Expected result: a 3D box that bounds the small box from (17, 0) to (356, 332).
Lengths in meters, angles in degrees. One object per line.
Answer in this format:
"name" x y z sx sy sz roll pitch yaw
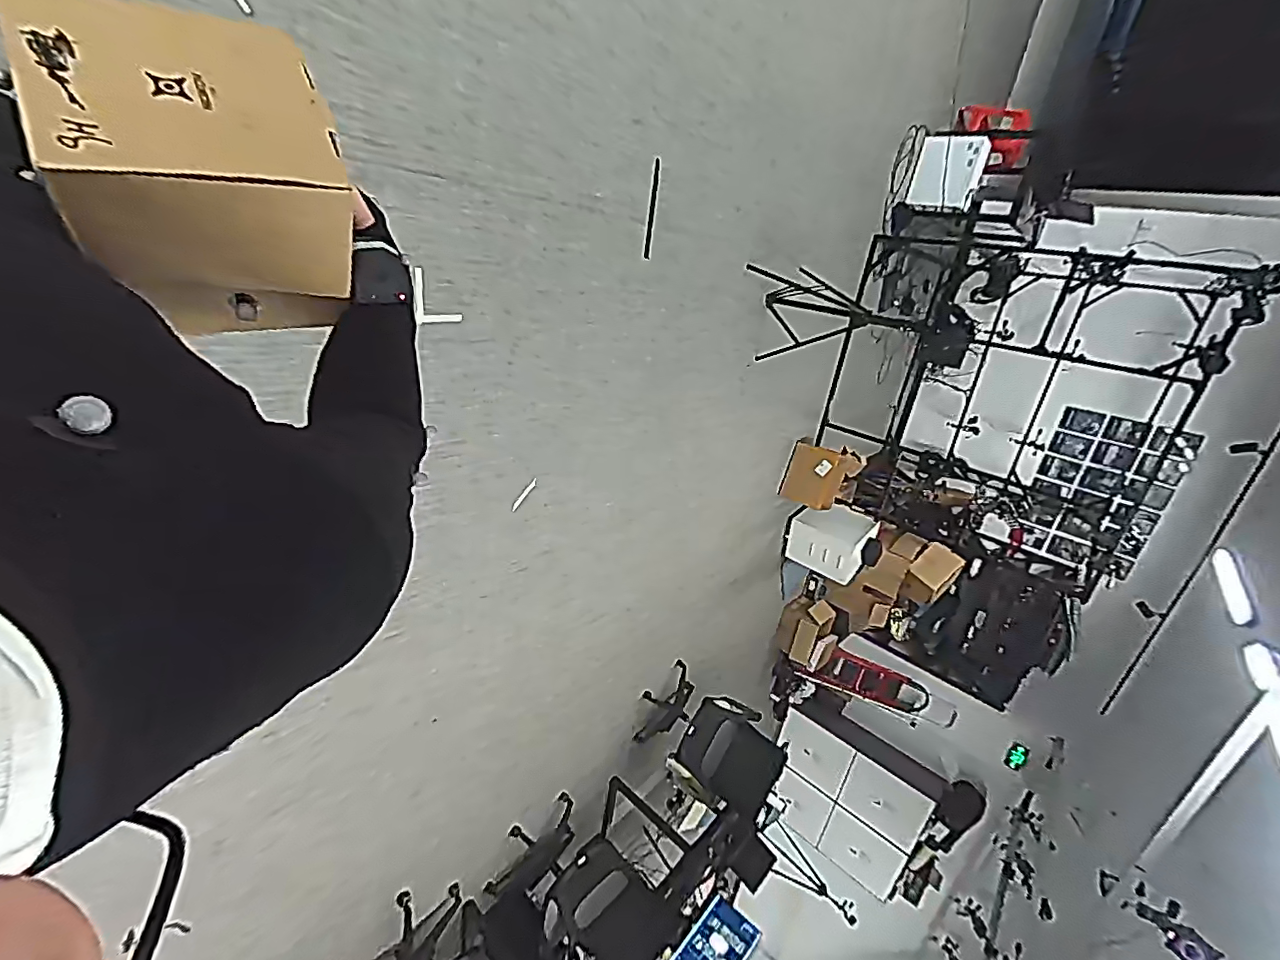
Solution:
"small box" -0.368 -0.248 0.468 0.179 0.168 0.176 -17 164 -35
